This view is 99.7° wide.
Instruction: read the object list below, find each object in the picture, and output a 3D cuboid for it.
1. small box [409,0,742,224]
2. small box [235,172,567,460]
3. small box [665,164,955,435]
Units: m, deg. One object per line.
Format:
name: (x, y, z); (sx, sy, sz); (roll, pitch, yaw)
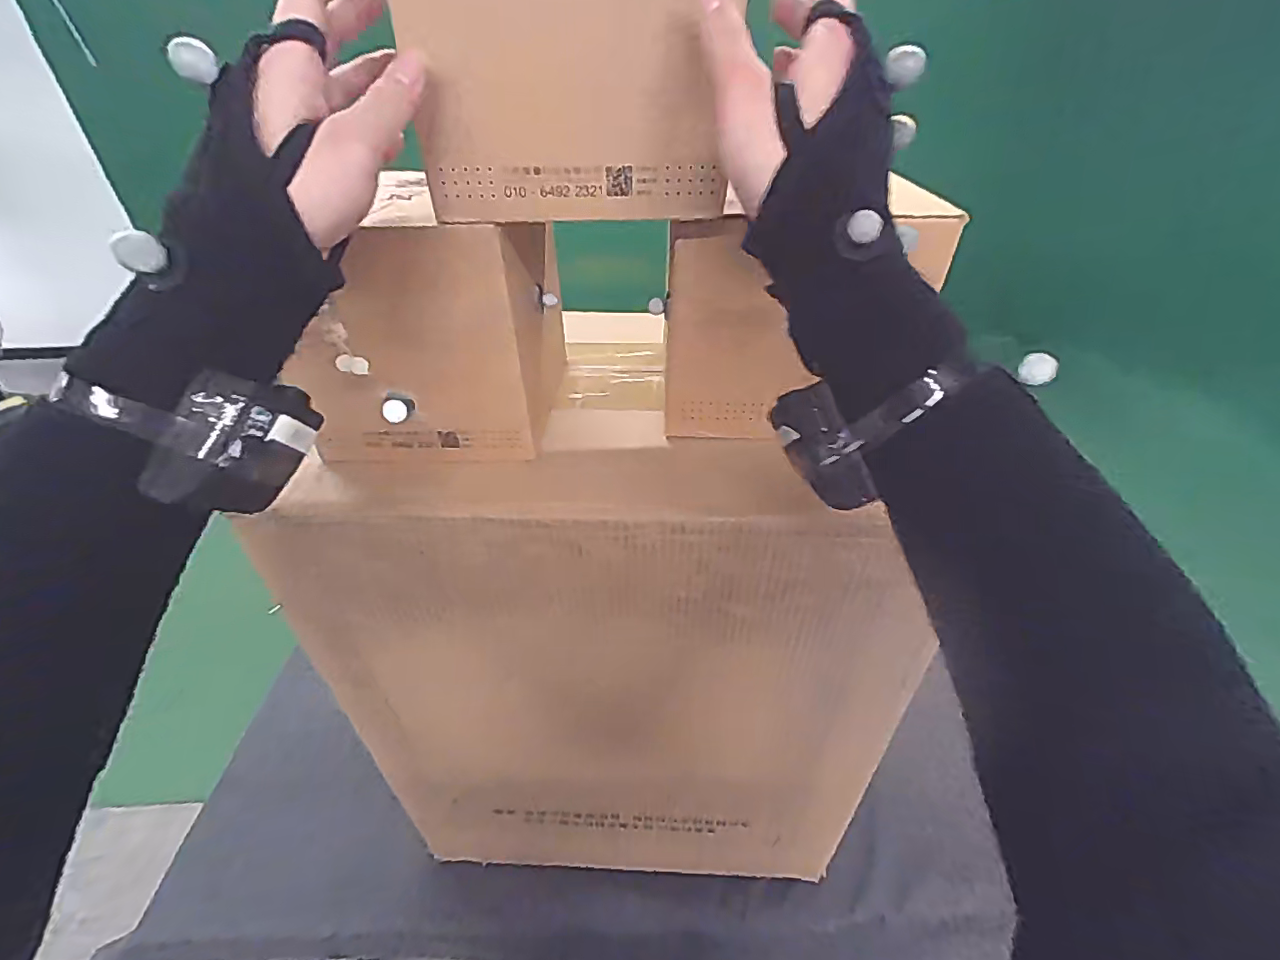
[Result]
small box: (-0.037, -0.267, 0.329); (0.168, 0.176, 0.179); (-2, 39, -3)
small box: (-0.155, -0.134, 0.429); (0.168, 0.176, 0.179); (0, 39, 2)
small box: (0.109, -0.149, 0.443); (0.179, 0.176, 0.168); (2, 39, 0)
